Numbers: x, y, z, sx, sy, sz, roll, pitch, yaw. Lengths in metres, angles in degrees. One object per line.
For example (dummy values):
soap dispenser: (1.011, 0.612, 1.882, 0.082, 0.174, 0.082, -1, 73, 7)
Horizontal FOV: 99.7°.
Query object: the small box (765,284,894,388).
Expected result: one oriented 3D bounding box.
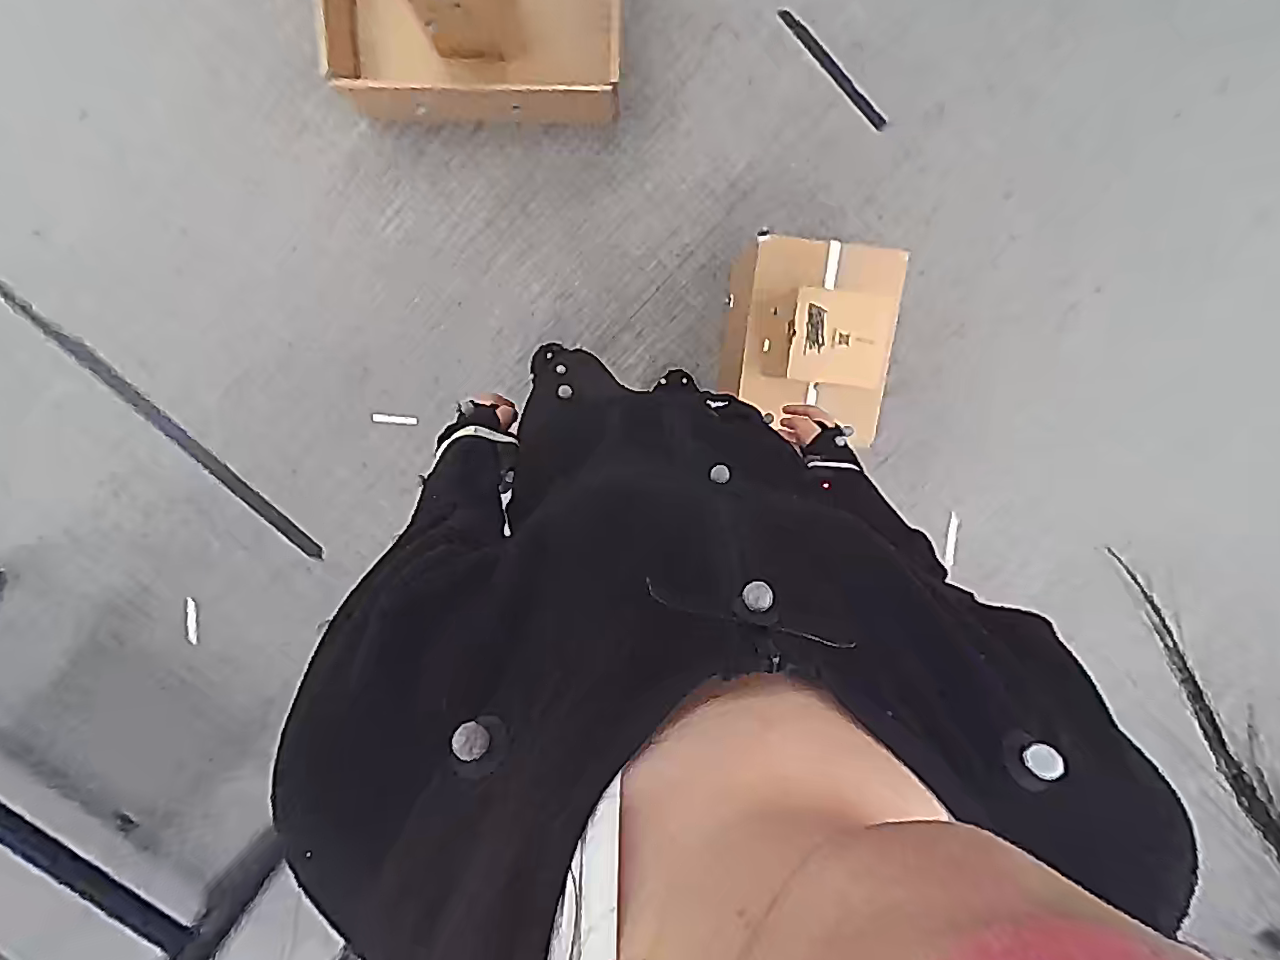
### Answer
small box: (0.355, -0.272, 1.048, 0.179, 0.176, 0.168, 6, 102, -3)
